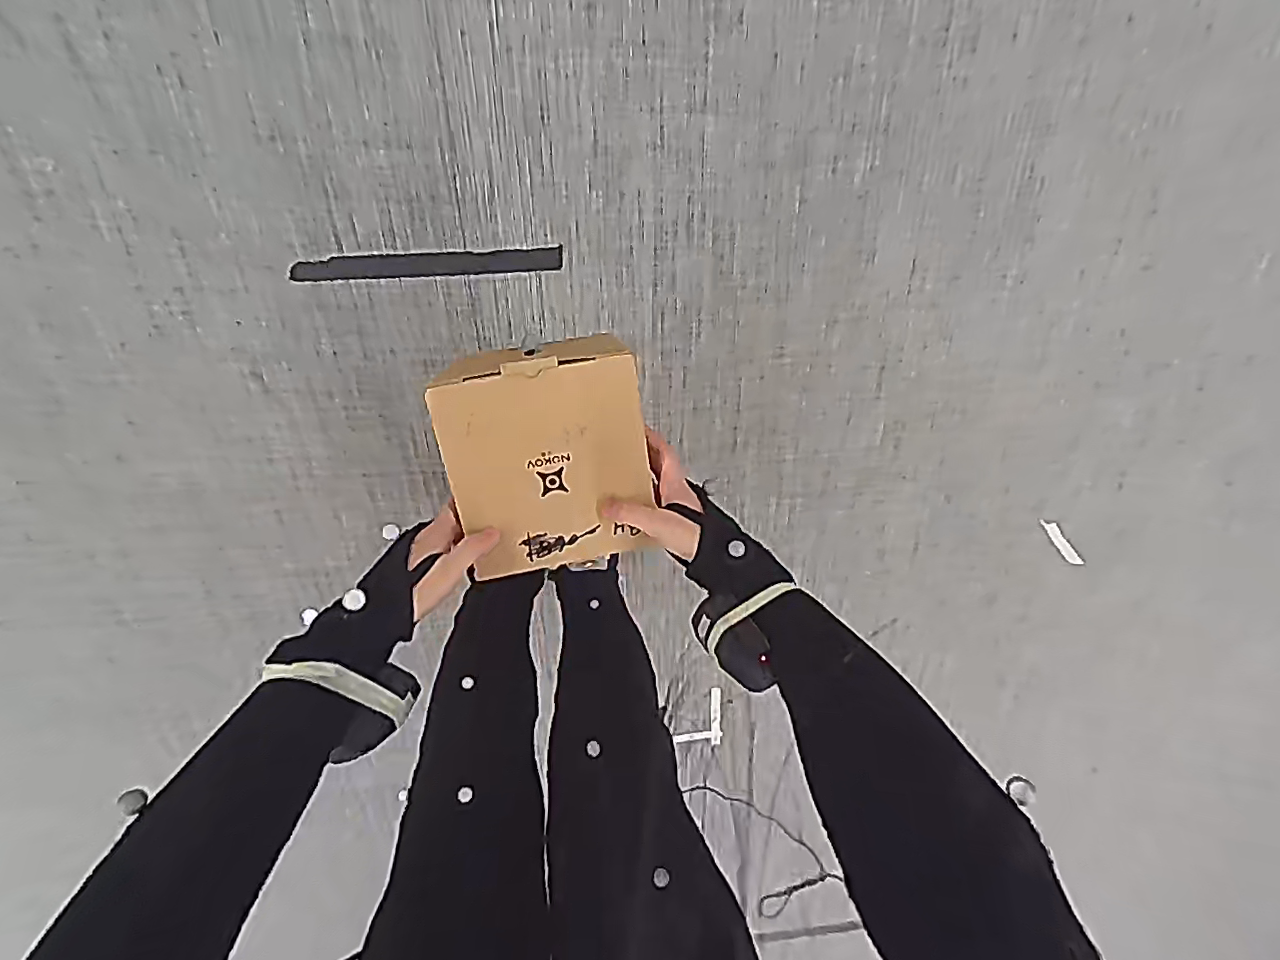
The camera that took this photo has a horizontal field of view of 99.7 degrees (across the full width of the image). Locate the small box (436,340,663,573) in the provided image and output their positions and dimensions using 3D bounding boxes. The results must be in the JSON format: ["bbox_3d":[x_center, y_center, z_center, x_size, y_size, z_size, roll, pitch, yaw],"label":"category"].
[{"bbox_3d":[-0.083,-0.037,0.527,0.168,0.176,0.179,-11,110,-7],"label":"small box"}]
